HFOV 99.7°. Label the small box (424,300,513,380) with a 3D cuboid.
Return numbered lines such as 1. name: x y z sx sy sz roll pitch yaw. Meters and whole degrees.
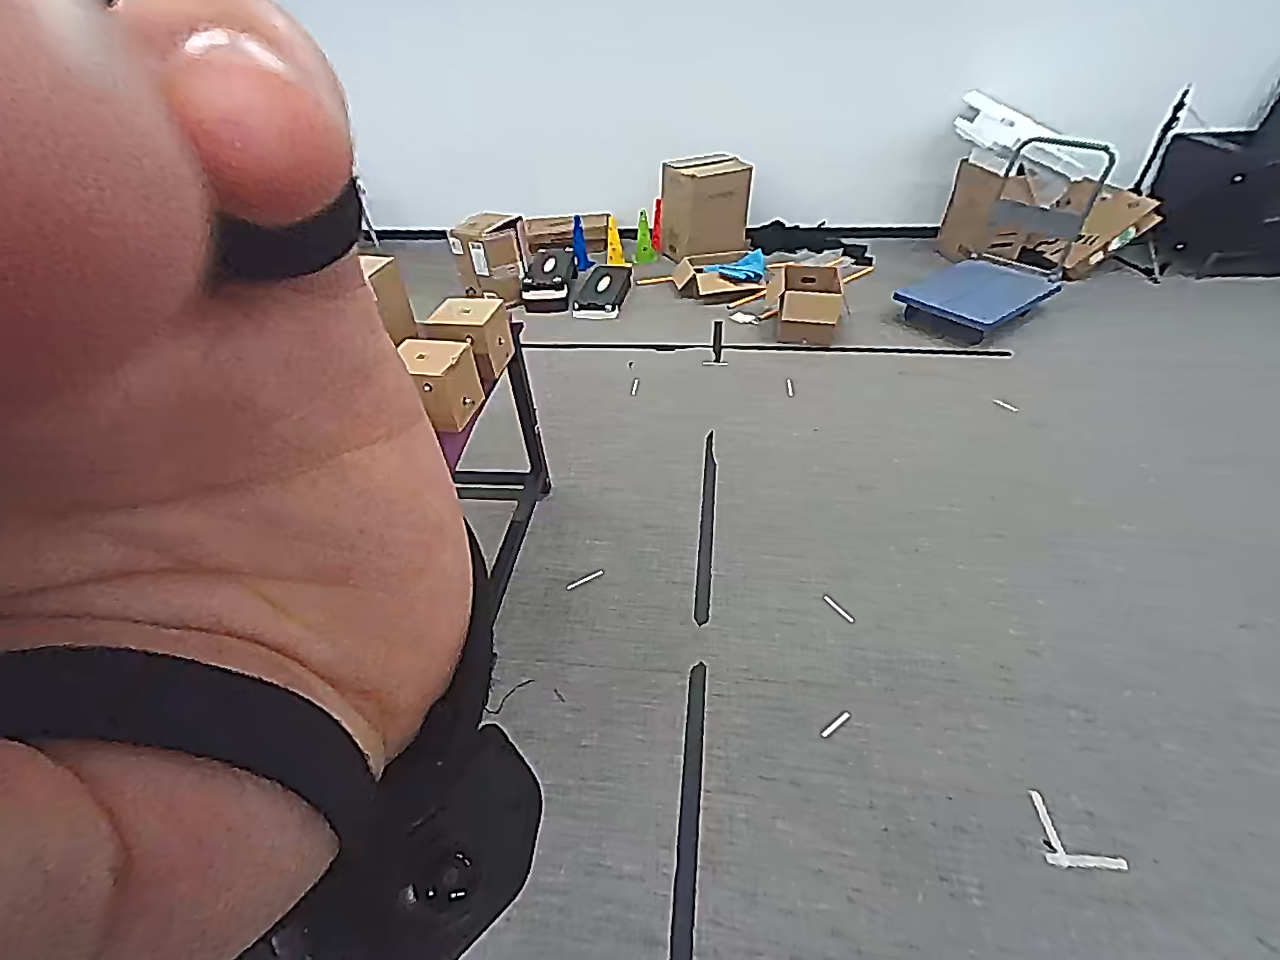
1. small box: -0.480 -0.400 1.548 0.179 0.176 0.168 3 41 9
